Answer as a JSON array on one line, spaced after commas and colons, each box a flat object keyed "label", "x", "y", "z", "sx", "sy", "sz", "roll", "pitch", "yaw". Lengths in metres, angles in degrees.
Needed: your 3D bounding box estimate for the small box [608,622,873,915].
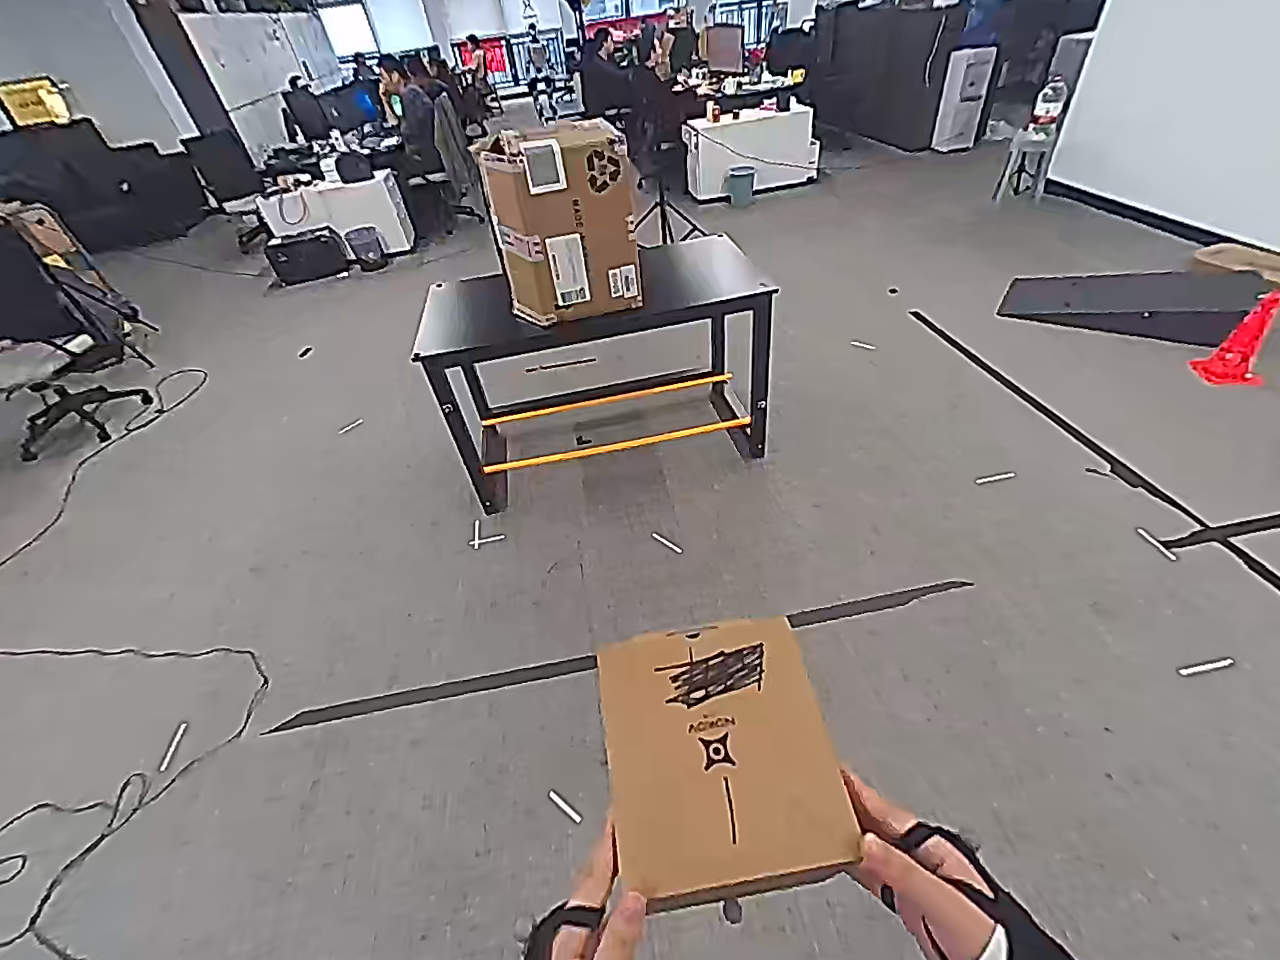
[{"label": "small box", "x": 0.068, "y": 0.249, "z": 0.467, "sx": 0.168, "sy": 0.176, "sz": 0.179, "roll": -9, "pitch": 49, "yaw": -2}]
